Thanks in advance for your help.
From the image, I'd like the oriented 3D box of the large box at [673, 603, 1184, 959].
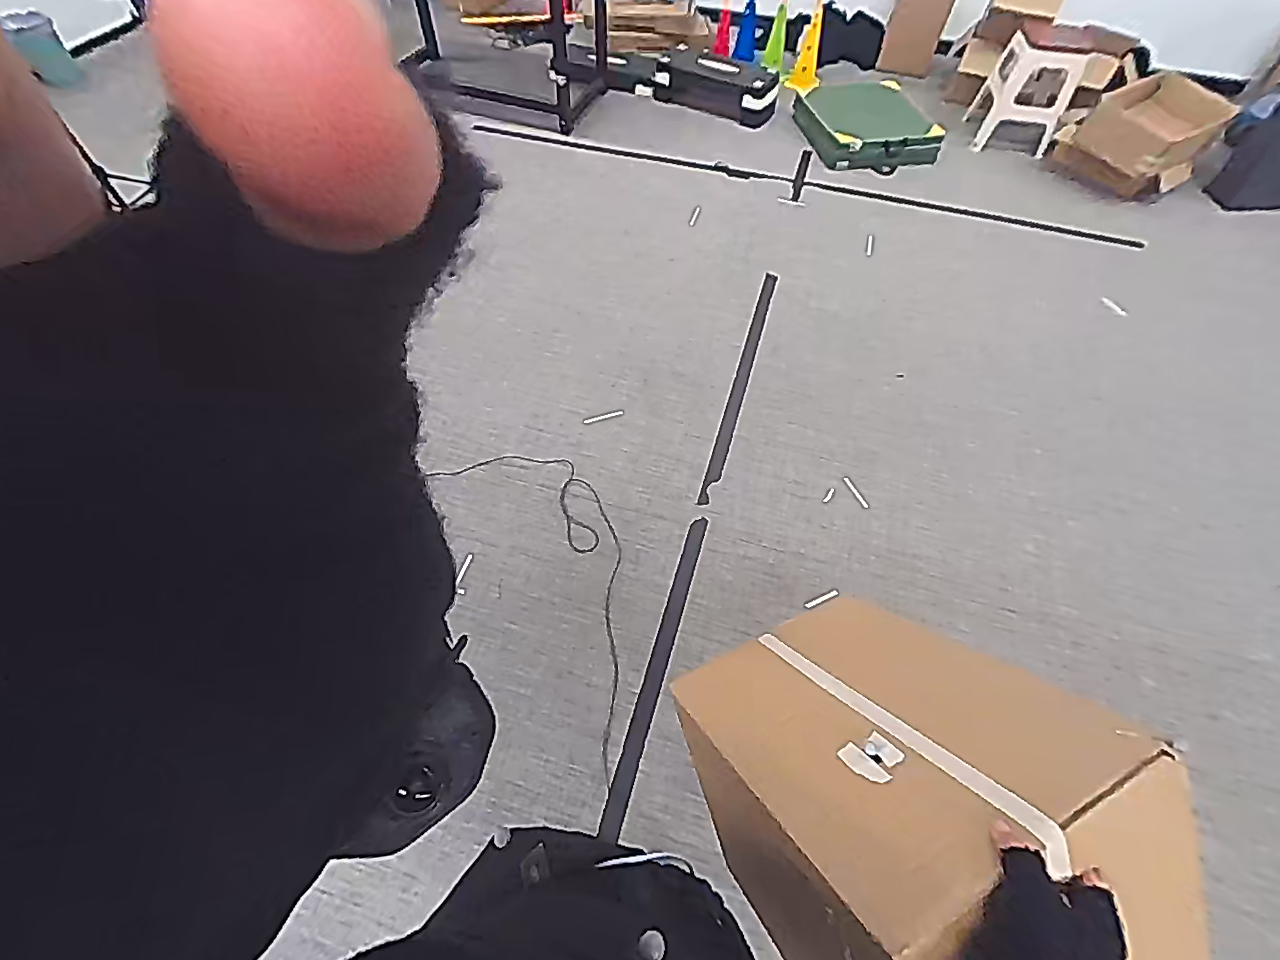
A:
[{"bbox_3d":[0.287,0.396,0.628,0.320,0.408,0.320,-22,103,-16],"label":"large box"}]
